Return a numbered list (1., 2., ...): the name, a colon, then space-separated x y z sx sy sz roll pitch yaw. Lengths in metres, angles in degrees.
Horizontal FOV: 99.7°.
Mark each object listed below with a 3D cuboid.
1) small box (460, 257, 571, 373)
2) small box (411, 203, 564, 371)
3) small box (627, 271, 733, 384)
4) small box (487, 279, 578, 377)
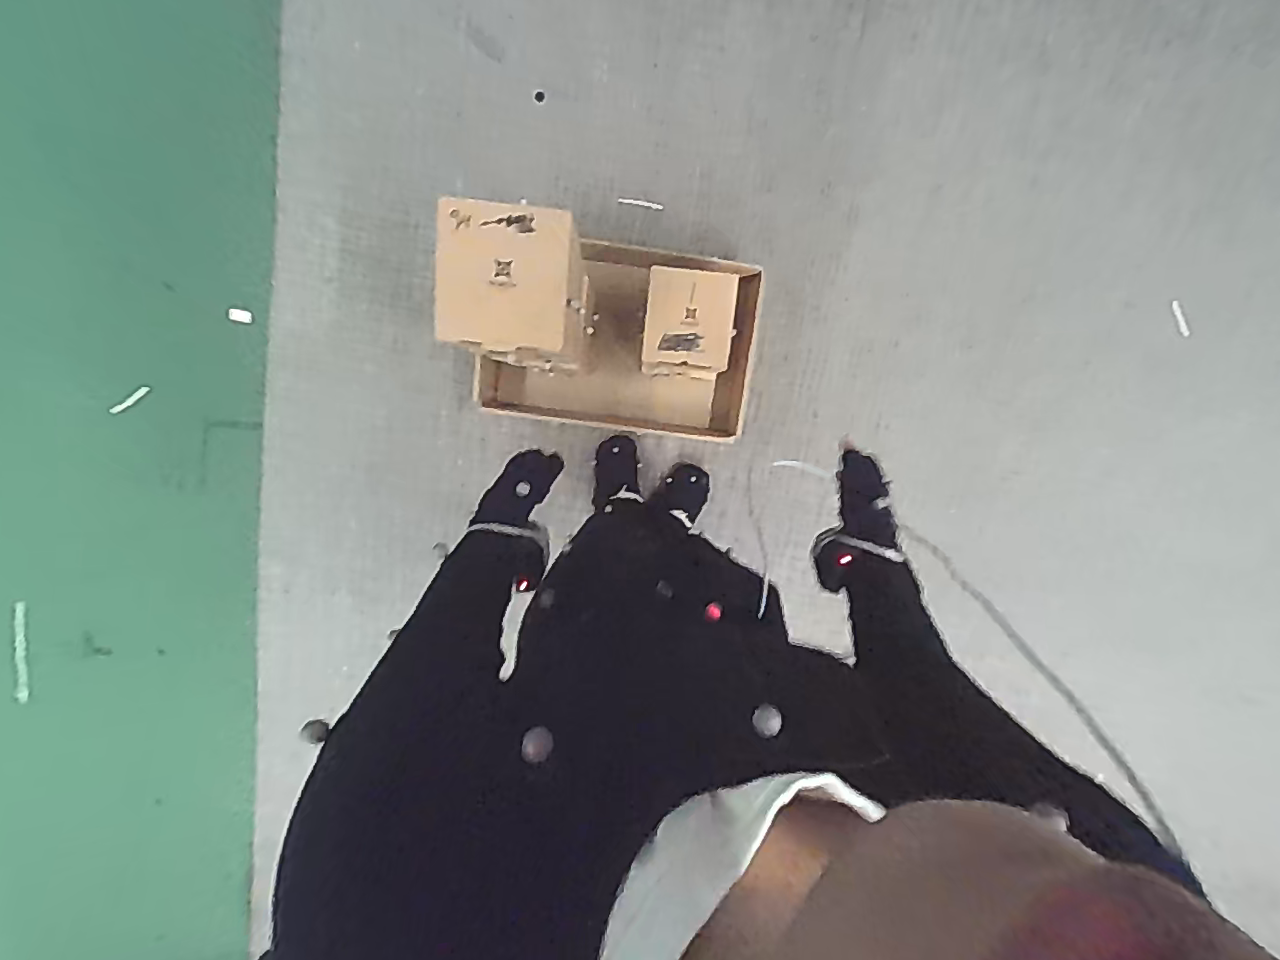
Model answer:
1. small box: -0.206 -0.274 0.889 0.168 0.176 0.179 6 100 -5
2. small box: -0.195 -0.246 0.728 0.168 0.176 0.179 6 102 -6
3. small box: 0.070 -0.290 1.056 0.168 0.176 0.179 9 101 -5
4. small box: -0.214 -0.299 1.050 0.168 0.176 0.179 8 101 -5
